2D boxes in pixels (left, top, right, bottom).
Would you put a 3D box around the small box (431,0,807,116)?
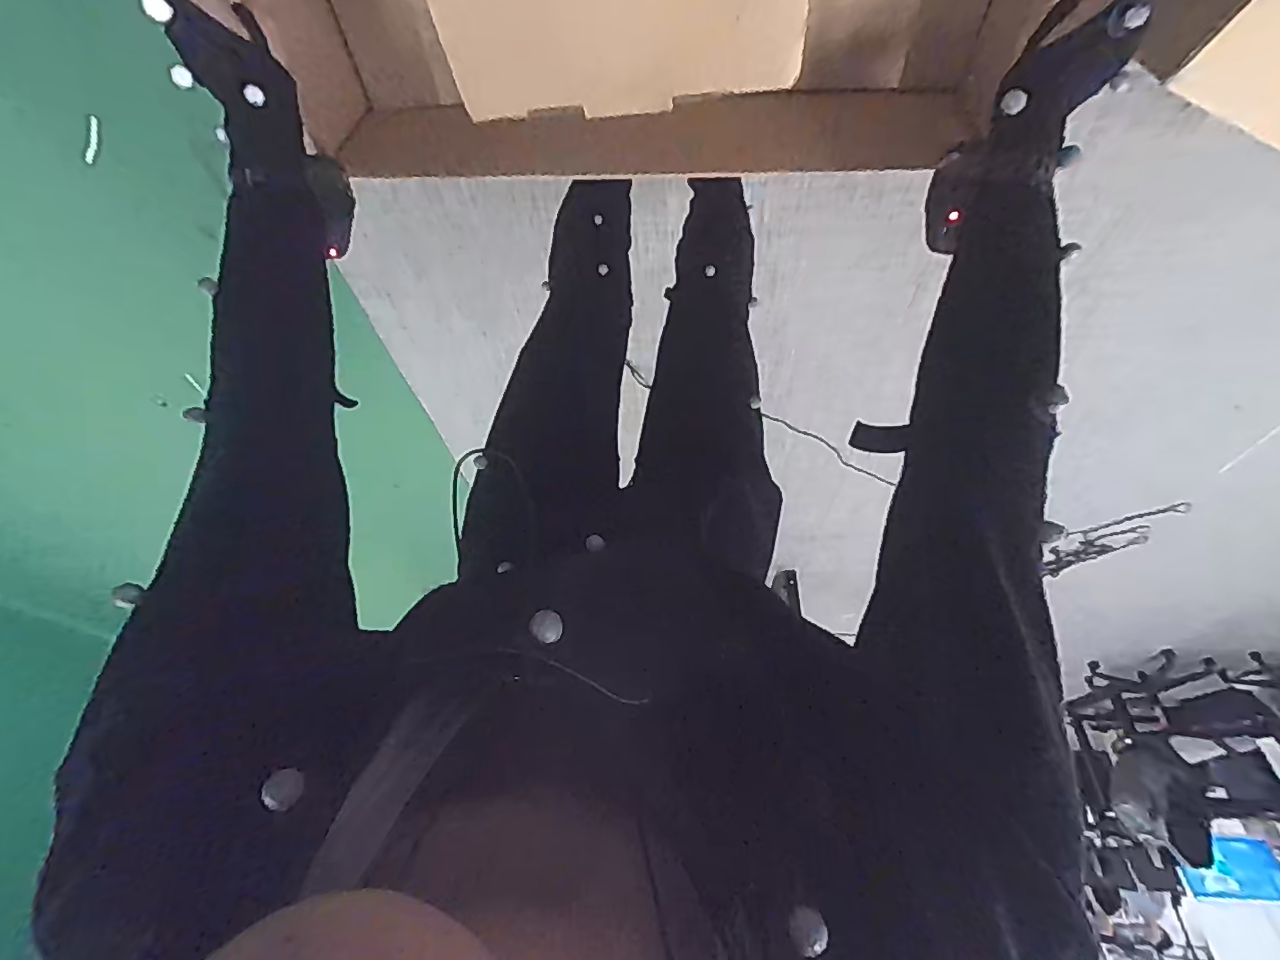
[{"bbox_3d":[-0.010,-0.300,0.237,0.168,0.176,0.179,-2,147,7],"label":"small box"}]
